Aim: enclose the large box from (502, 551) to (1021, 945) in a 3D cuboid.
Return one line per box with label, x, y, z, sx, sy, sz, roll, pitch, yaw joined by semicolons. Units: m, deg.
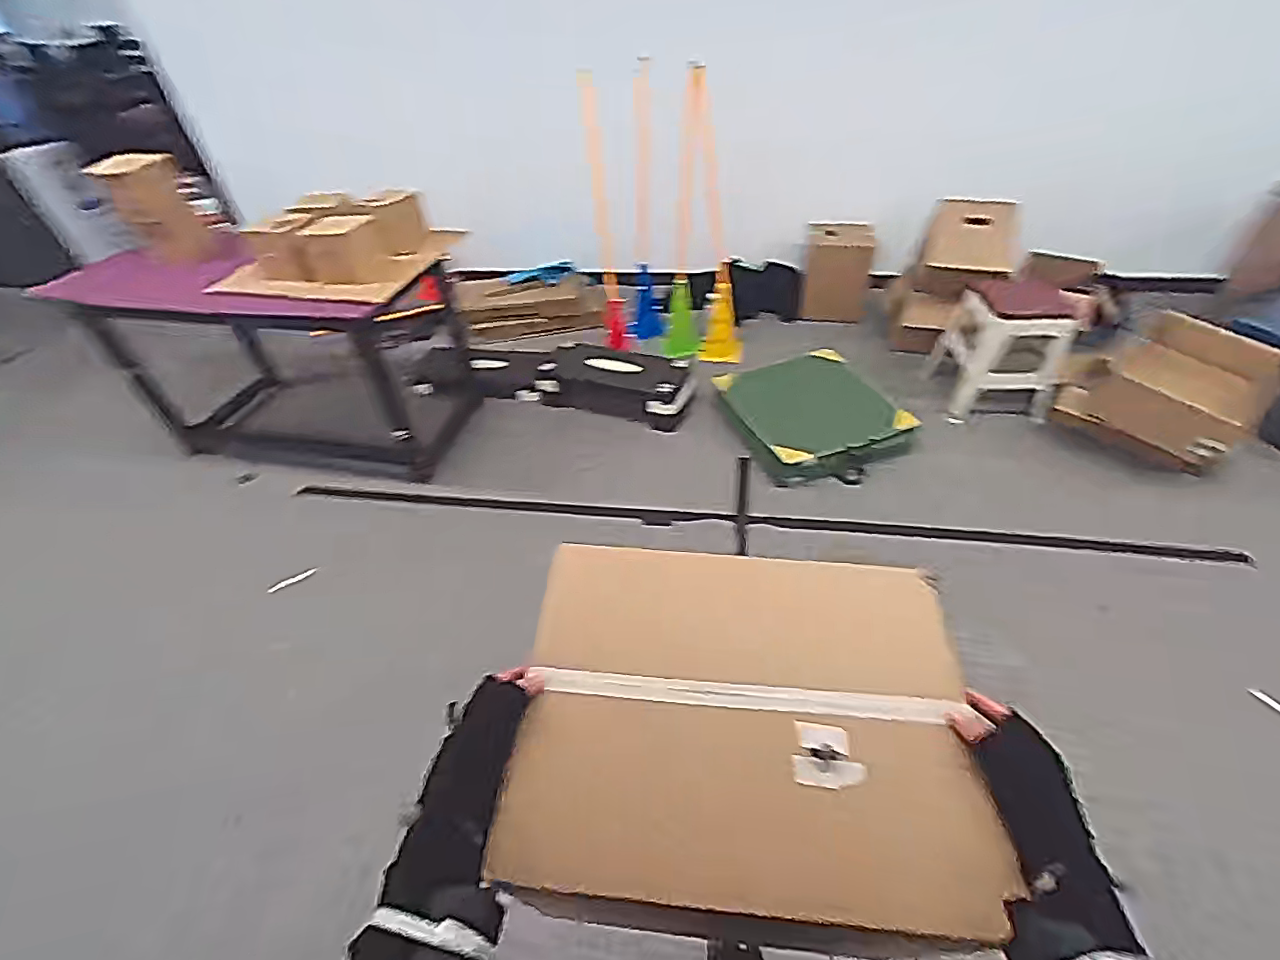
large box;0.097;0.305;0.617;0.408;0.320;0.320;4;48;3
